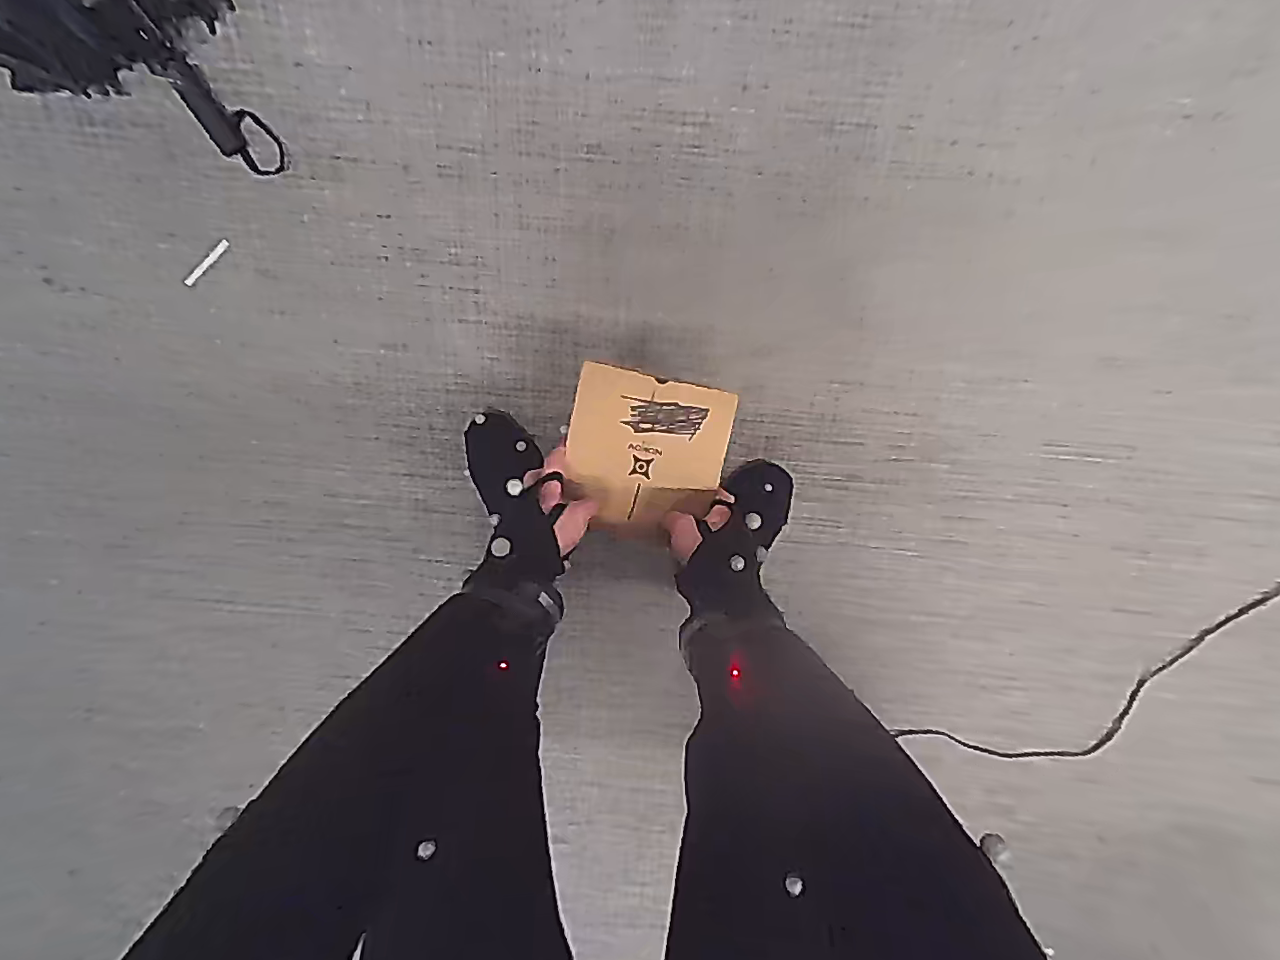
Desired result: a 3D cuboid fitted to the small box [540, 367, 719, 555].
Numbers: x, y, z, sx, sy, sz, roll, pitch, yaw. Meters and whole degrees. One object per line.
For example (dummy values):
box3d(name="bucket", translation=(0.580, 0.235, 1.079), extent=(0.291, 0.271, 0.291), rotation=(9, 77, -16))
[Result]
box3d(name="small box", translation=(-0.014, -0.025, 0.657), extent=(0.168, 0.176, 0.179), rotation=(12, 95, -2))
